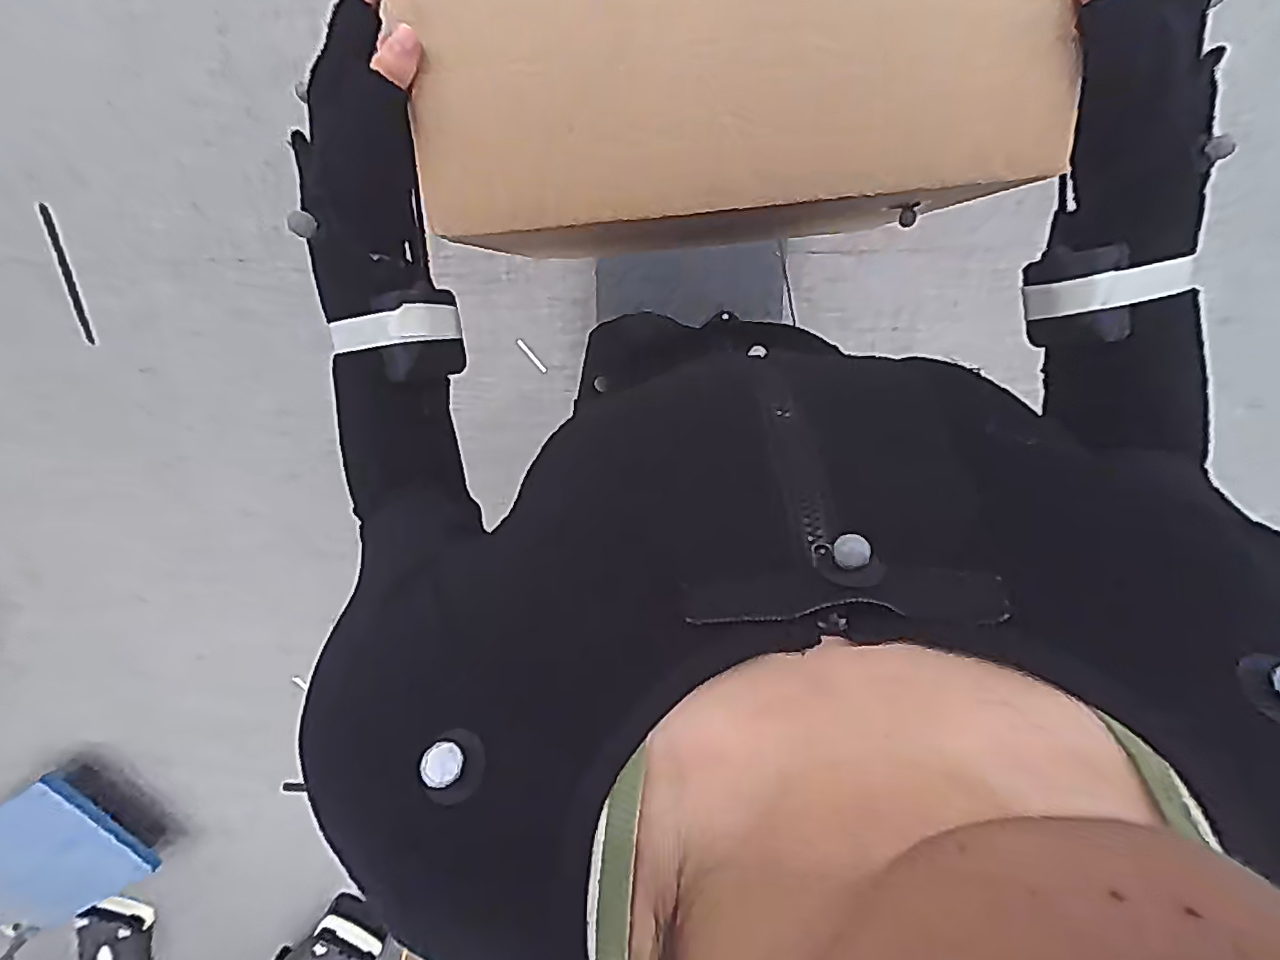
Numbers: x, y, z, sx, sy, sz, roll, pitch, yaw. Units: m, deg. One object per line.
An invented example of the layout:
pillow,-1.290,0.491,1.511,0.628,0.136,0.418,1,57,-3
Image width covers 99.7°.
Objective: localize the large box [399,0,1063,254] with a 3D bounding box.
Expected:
large box,0.054,-0.377,0.450,0.408,0.320,0.320,-4,109,3
